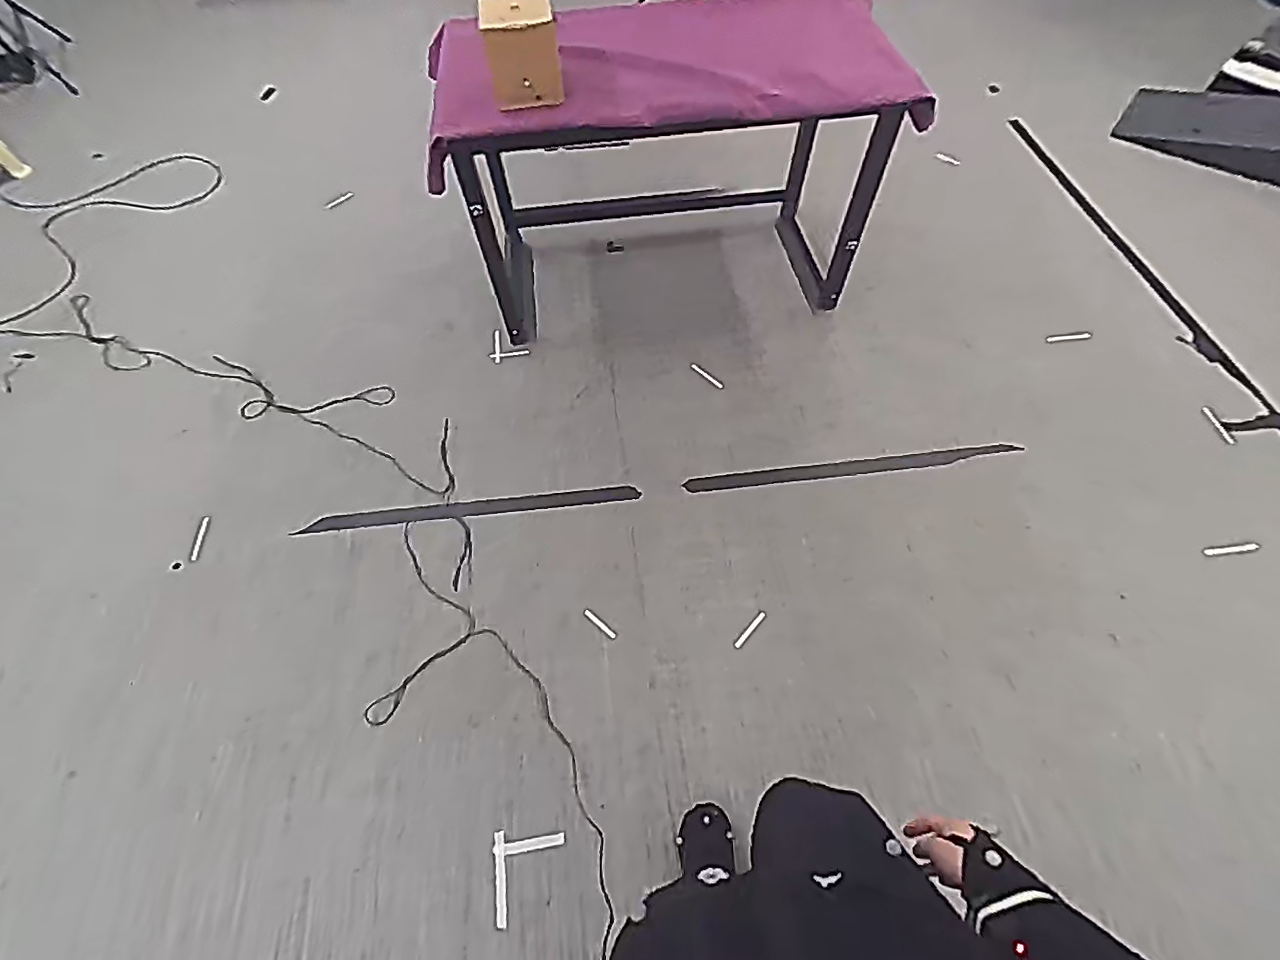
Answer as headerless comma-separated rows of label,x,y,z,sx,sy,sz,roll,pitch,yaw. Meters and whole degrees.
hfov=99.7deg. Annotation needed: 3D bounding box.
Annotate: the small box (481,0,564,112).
small box,-0.282,-1.031,1.315,0.168,0.176,0.179,-9,60,-3
